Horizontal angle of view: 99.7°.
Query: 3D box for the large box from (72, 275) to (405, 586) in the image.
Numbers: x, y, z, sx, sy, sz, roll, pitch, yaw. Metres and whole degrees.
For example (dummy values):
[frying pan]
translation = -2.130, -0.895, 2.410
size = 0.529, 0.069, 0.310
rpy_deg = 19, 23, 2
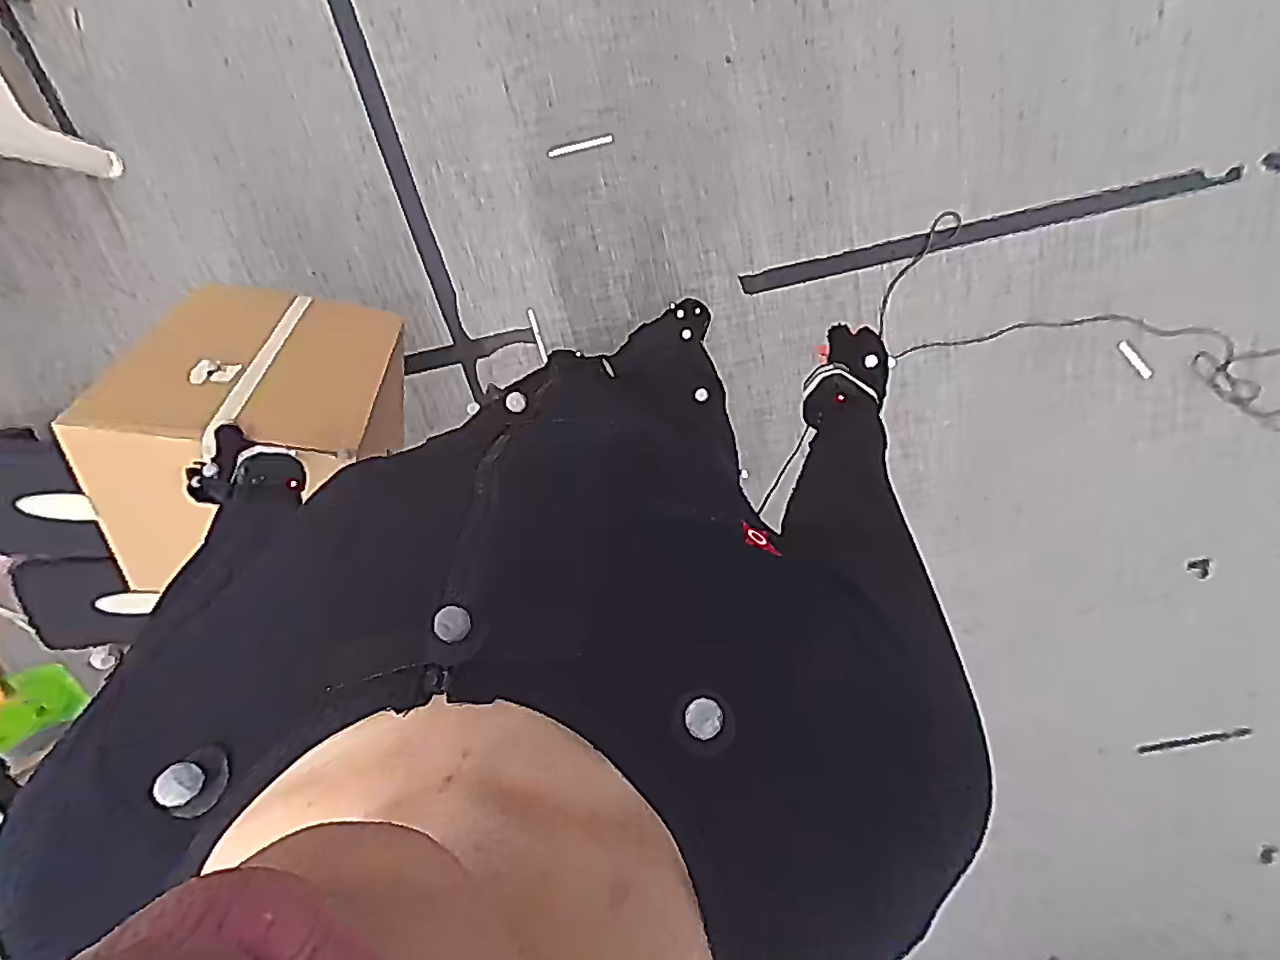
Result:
[large box]
translation = -0.594, -0.083, 0.908
size = 0.320, 0.408, 0.320
rpy_deg = 7, 132, -17
